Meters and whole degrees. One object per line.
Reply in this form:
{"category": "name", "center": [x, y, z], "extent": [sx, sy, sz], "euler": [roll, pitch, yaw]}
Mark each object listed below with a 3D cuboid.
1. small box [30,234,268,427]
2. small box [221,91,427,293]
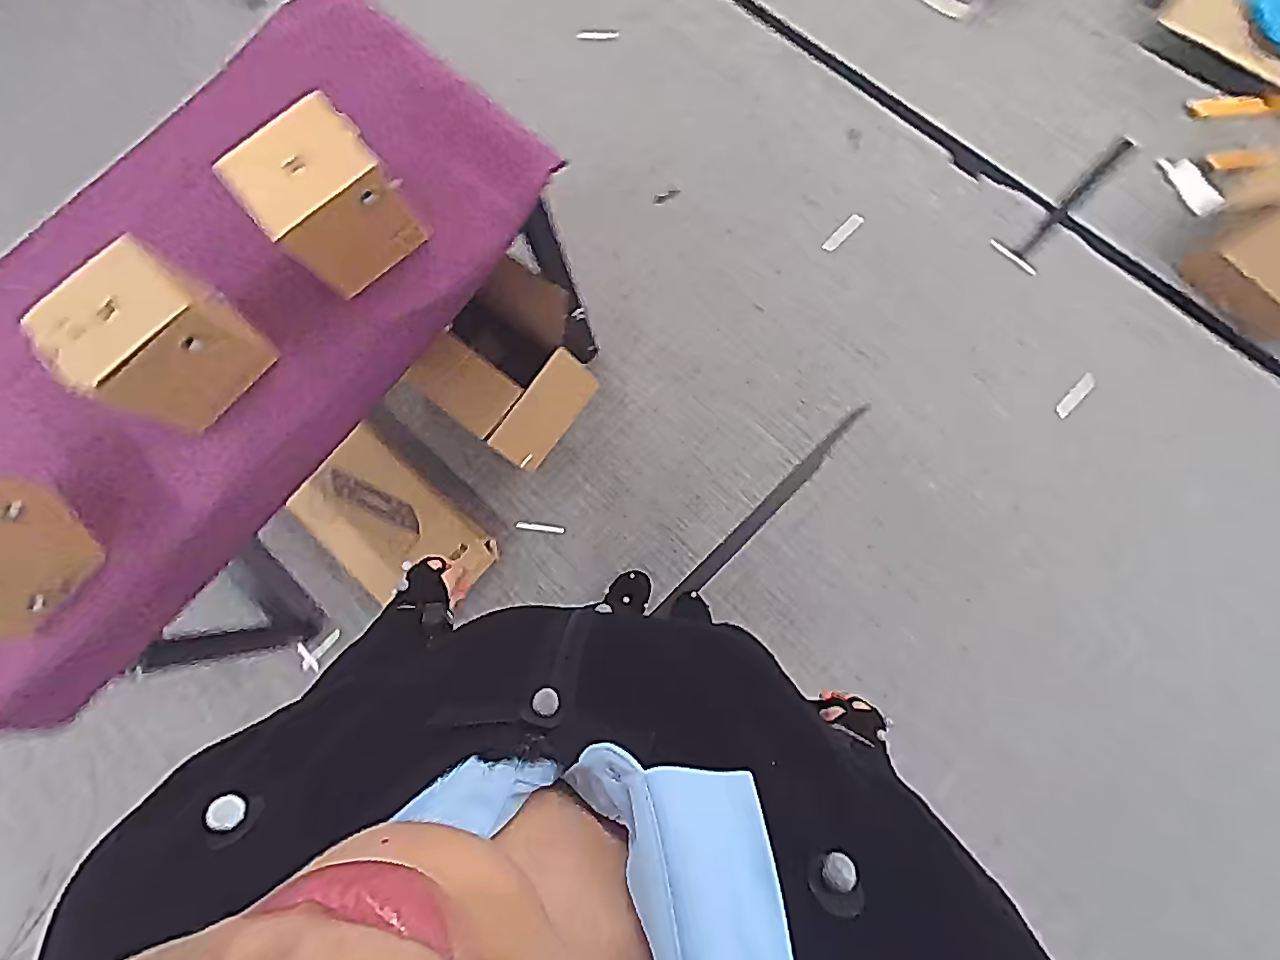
{"category": "small box", "center": [-0.699, -0.209, 0.798], "extent": [0.168, 0.176, 0.179], "euler": [42, 85, 12]}
{"category": "small box", "center": [-0.465, -0.424, 0.825], "extent": [0.179, 0.176, 0.168], "euler": [-40, 80, -4]}
